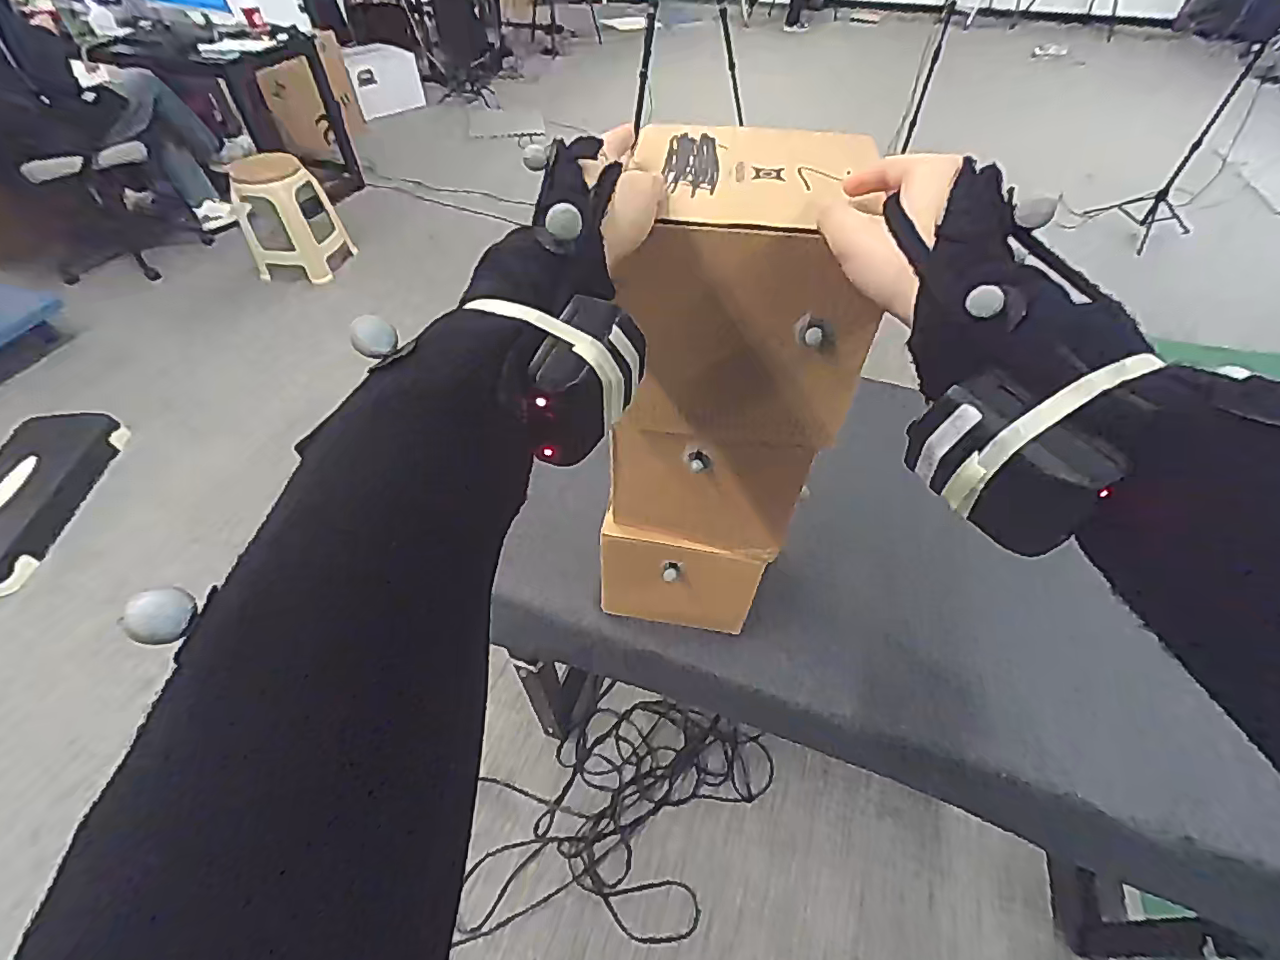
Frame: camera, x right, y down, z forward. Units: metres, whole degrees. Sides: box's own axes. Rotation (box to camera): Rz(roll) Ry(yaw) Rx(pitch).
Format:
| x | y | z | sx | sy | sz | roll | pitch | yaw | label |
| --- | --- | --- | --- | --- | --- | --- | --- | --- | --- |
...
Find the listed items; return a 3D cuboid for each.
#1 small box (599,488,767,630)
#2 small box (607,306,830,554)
| x | y | z | sx | sy | sz | roll | pitch | yaw | label |
| --- | --- | --- | --- | --- | --- | --- | --- | --- | --- |
| 0.055 | 0.065 | 0.662 | 0.179 | 0.176 | 0.168 | 8 | 49 | 6 | small box |
| 0.076 | -0.047 | 0.545 | 0.179 | 0.176 | 0.168 | 14 | 51 | 10 | small box |
